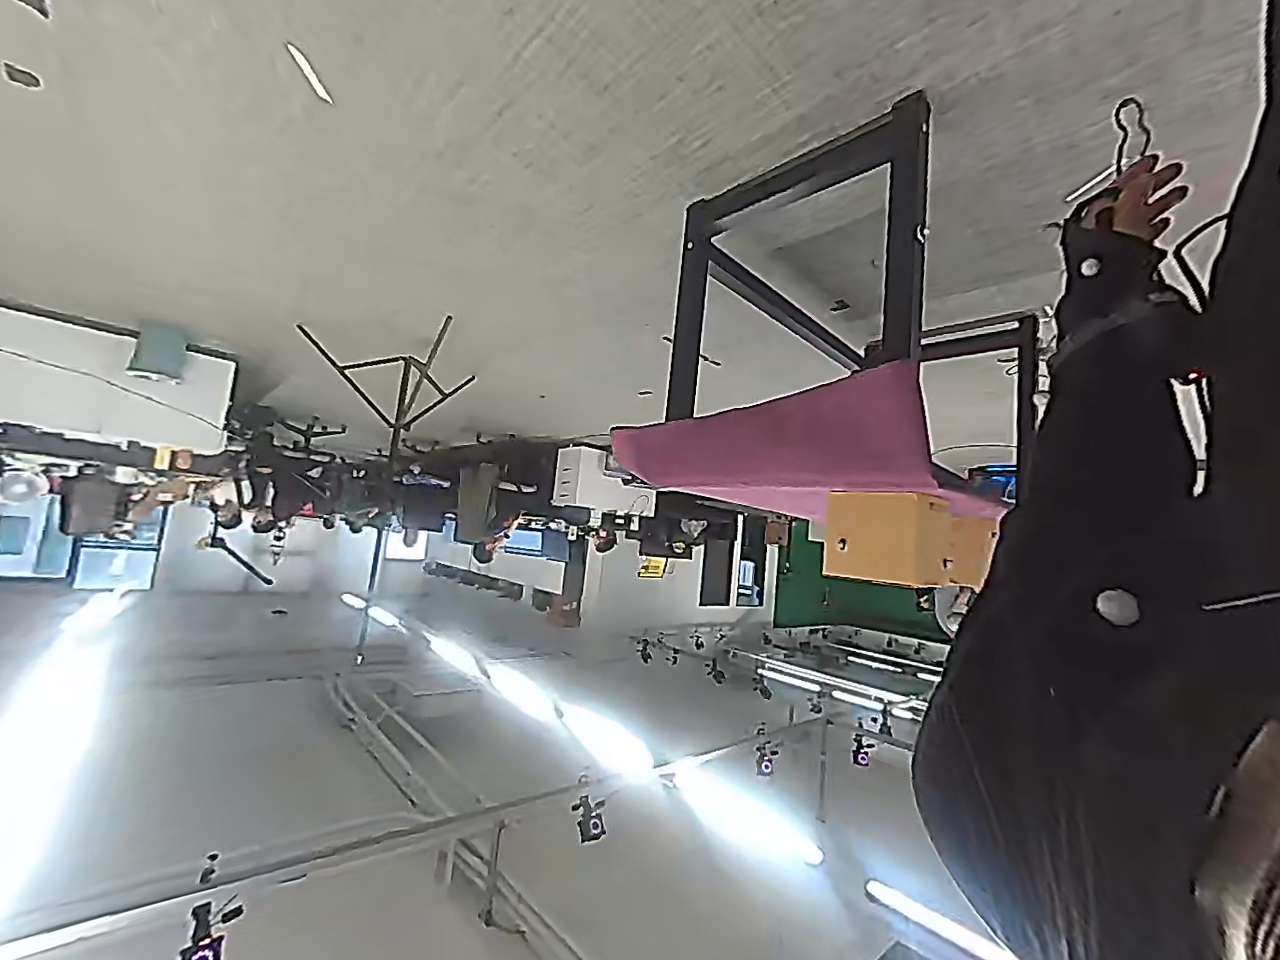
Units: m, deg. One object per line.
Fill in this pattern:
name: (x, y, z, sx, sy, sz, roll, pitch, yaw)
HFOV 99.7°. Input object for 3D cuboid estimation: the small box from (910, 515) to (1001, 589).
small box: (0.793, 0.180, 1.359, 0.168, 0.176, 0.179, -1, 170, 45)
